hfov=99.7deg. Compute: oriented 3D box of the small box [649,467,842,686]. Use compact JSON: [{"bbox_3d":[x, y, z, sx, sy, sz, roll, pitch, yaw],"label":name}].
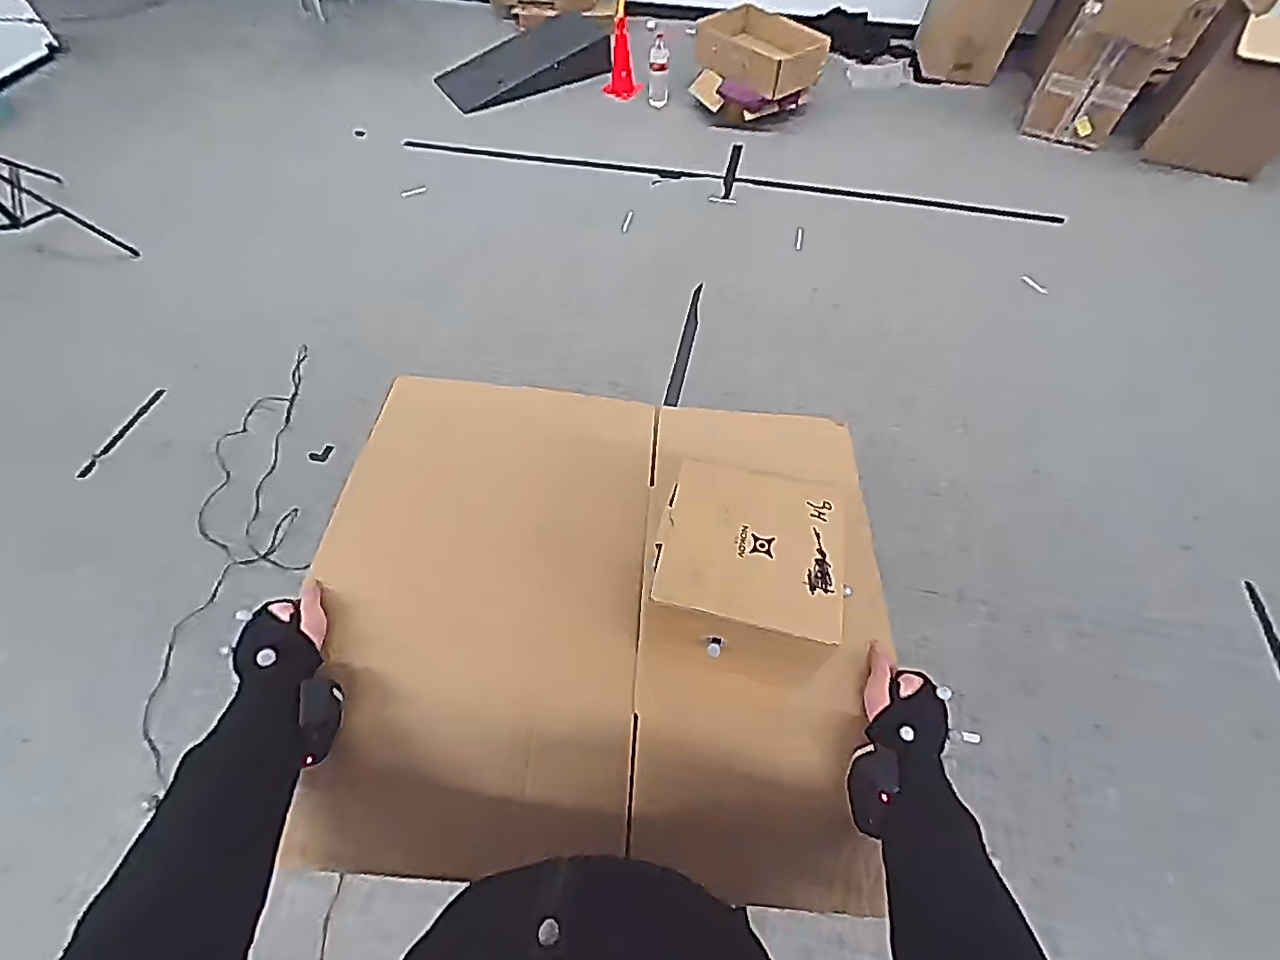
[{"bbox_3d":[0.110,0.112,0.600,0.179,0.176,0.168,11,55,7],"label":"small box"}]
